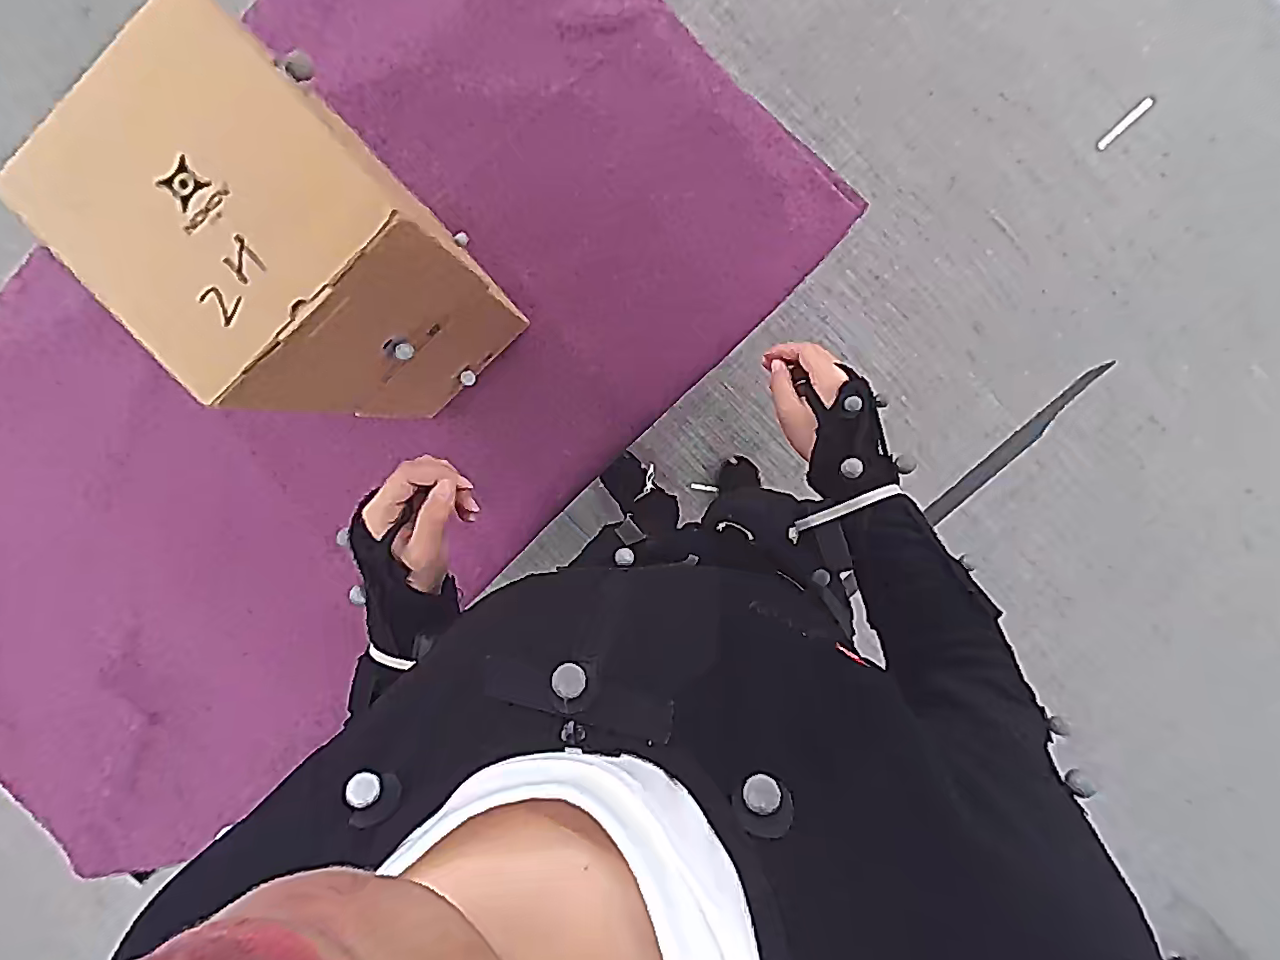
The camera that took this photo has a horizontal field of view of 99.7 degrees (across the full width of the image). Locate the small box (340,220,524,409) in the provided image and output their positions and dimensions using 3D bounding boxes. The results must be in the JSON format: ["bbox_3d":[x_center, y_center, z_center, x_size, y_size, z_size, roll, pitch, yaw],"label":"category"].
[{"bbox_3d":[-0.247,-0.185,0.549,0.168,0.176,0.179,-42,94,5],"label":"small box"}]

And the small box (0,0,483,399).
[{"bbox_3d":[-0.247,-0.172,0.384,0.168,0.176,0.179,-42,94,6],"label":"small box"}]
